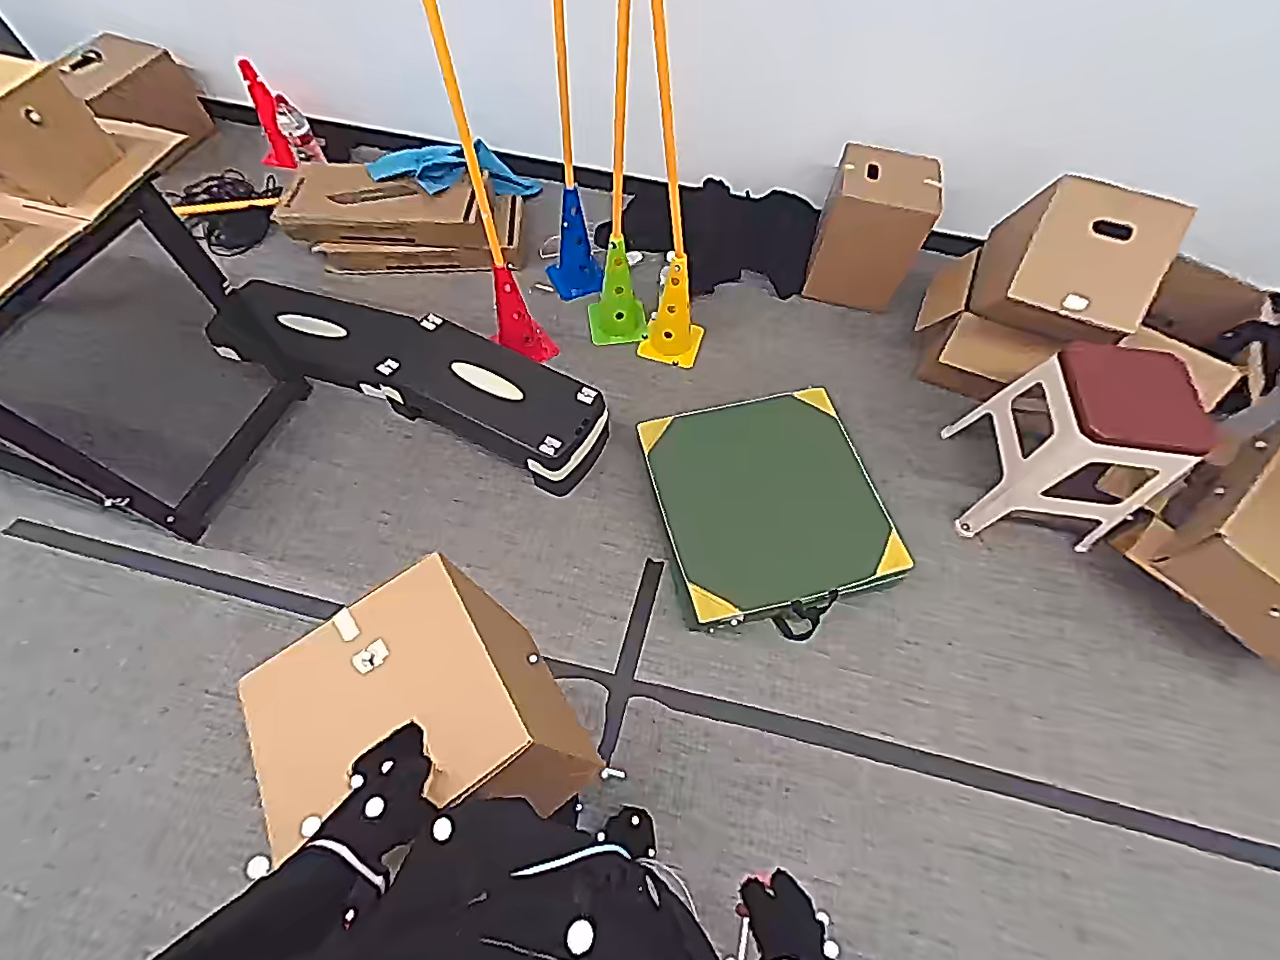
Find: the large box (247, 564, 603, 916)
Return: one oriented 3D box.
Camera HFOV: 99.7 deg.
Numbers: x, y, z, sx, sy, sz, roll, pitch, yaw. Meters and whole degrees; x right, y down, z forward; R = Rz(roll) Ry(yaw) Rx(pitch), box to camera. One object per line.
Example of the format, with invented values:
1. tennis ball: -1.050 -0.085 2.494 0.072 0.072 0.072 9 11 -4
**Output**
1. large box: -0.308 0.396 0.857 0.320 0.408 0.320 -33 58 -9
